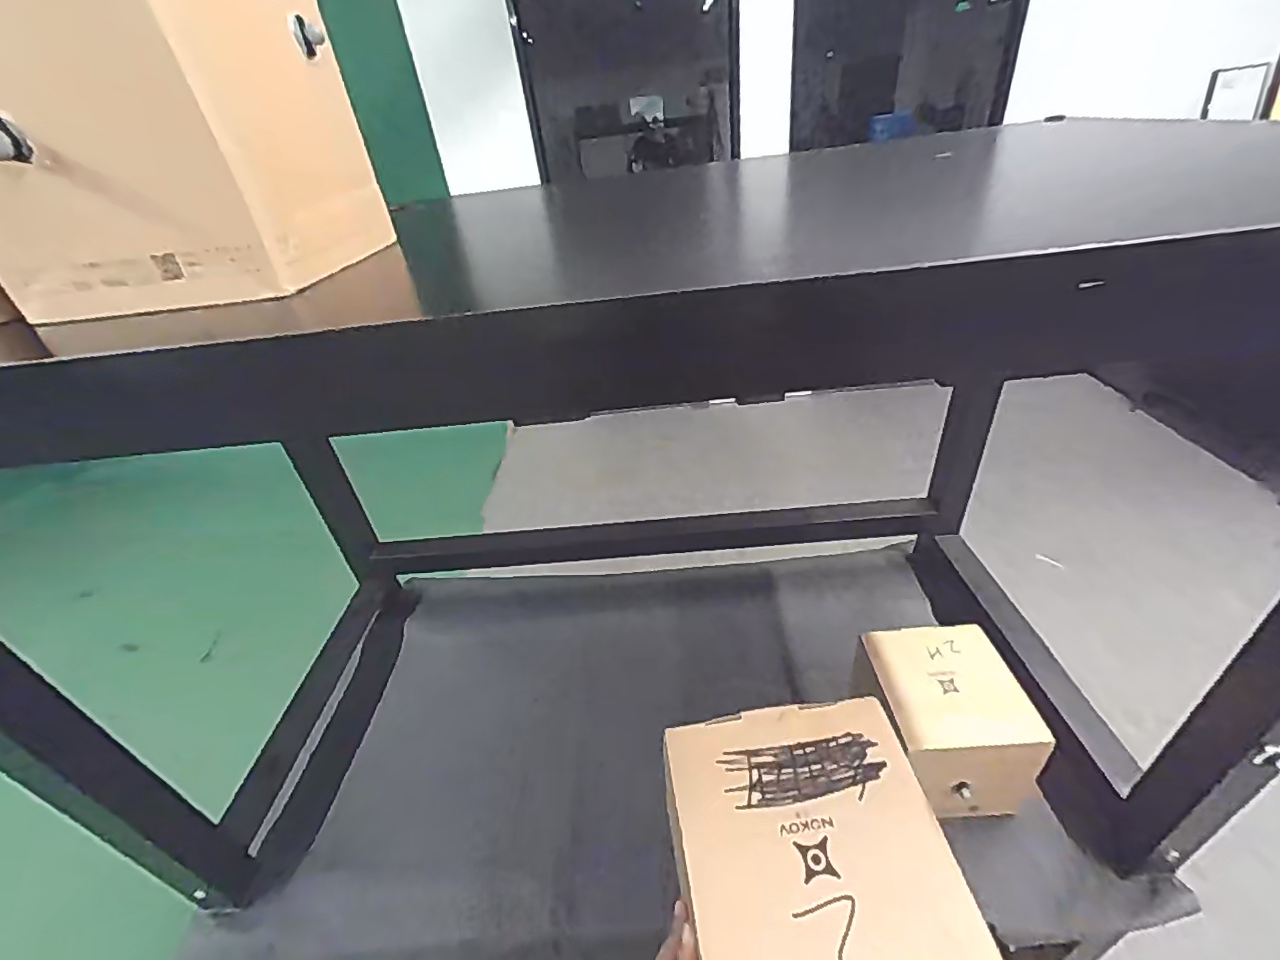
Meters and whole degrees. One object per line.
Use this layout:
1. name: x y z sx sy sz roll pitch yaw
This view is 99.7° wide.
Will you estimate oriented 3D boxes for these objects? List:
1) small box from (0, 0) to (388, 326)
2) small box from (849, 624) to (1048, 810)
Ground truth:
1. small box: -0.296 -0.206 0.354 0.168 0.176 0.179 -5 33 4
2. small box: 0.397 0.324 0.734 0.168 0.176 0.179 -5 33 4
